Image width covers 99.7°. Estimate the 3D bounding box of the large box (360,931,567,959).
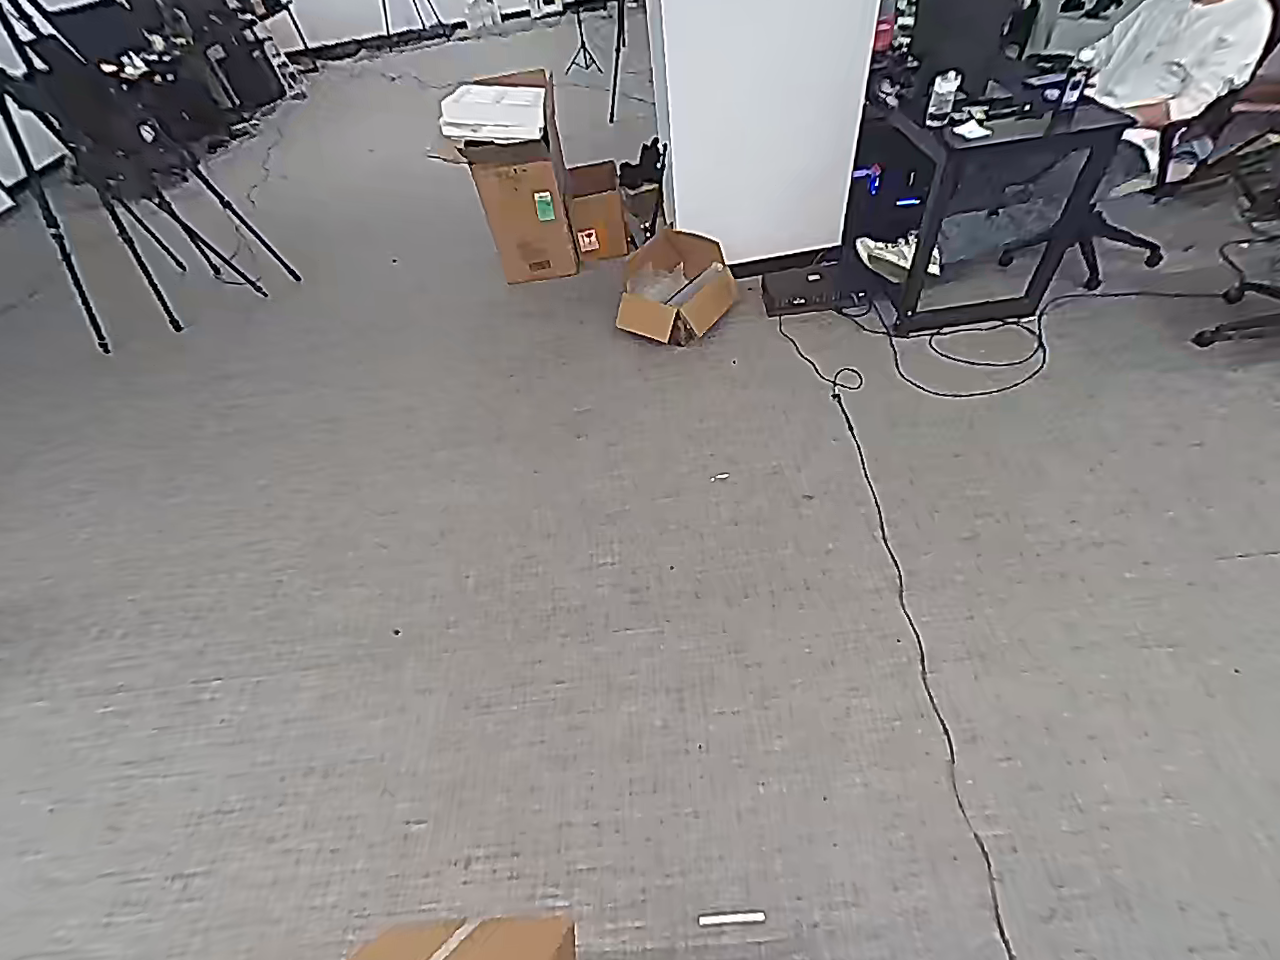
[{"bbox_3d":[-0.273,0.794,0.617,0.320,0.408,0.320,-8,70,5],"label":"large box"}]
